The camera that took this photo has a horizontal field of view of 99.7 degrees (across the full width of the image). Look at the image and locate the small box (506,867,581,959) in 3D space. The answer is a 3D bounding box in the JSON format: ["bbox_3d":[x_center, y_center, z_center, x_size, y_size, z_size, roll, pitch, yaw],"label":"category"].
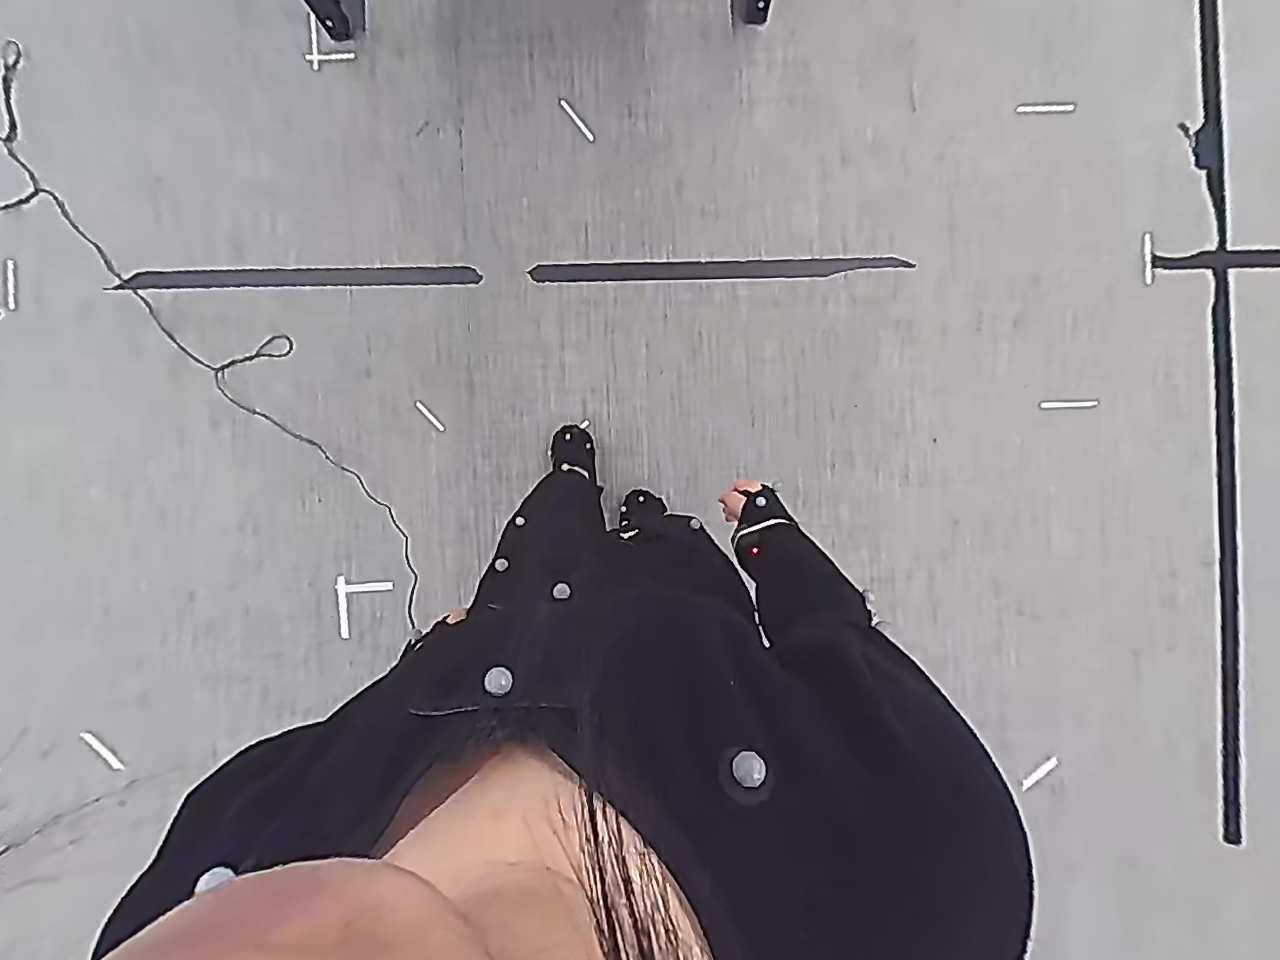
[{"bbox_3d":[-0.250,1.160,1.429,0.168,0.176,0.179,-4,91,1],"label":"small box"}]
